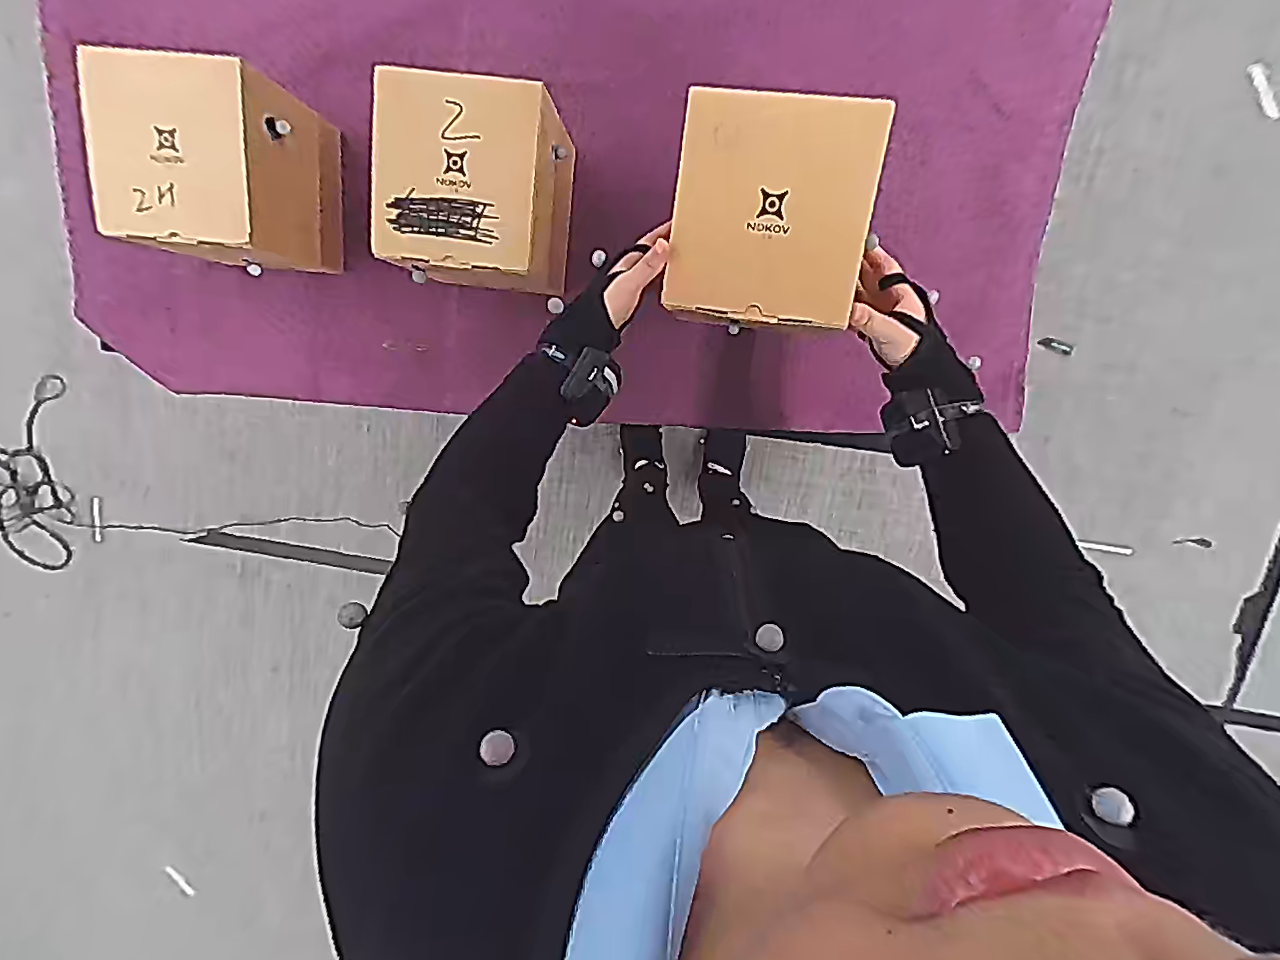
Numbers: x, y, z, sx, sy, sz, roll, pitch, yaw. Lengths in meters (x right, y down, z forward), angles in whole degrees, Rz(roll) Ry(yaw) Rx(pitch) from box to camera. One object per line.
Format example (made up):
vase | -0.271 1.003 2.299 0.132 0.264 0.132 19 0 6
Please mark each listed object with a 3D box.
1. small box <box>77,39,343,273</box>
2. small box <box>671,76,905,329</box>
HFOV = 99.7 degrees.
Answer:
small box | -0.462 -0.347 0.612 0.168 0.176 0.179 5 102 2
small box | 0.128 -0.248 0.525 0.168 0.176 0.179 9 105 7
